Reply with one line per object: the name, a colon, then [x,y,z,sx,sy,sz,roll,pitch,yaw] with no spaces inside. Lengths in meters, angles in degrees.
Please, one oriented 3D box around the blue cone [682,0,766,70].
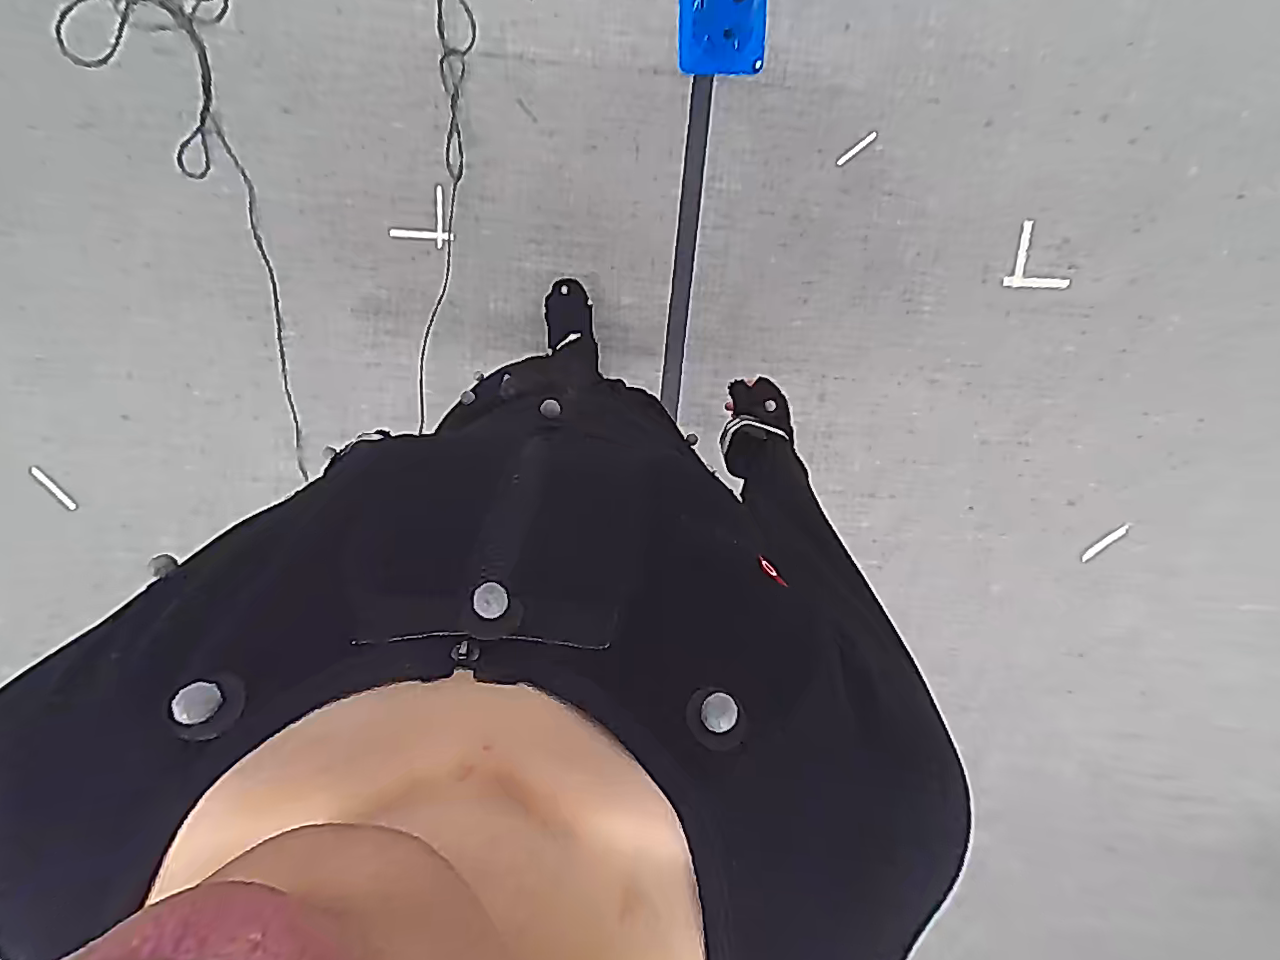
blue cone: [0.200,-1.003,1.069,0.192,0.380,0.193,0,104,-3]
